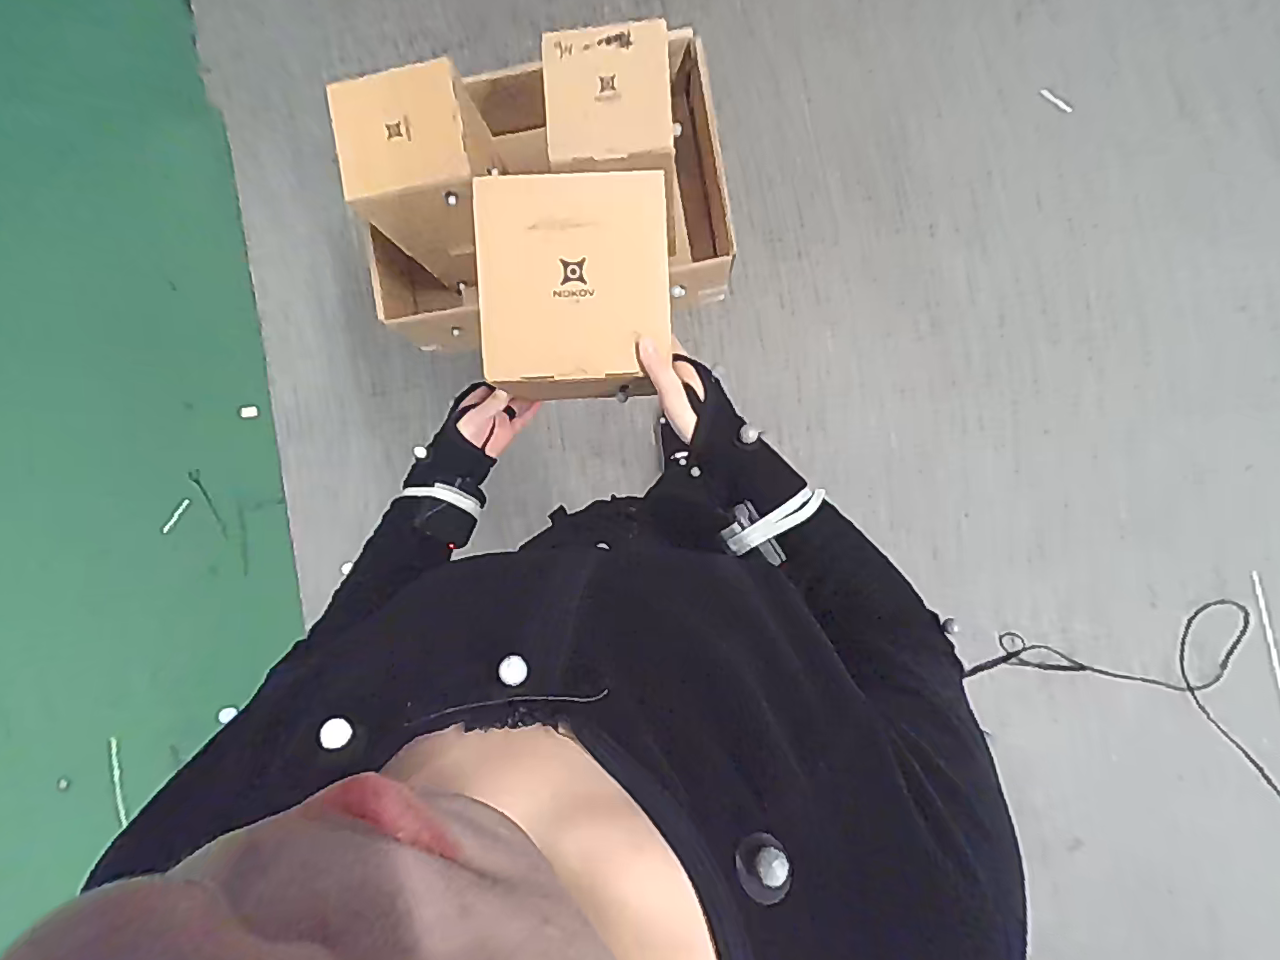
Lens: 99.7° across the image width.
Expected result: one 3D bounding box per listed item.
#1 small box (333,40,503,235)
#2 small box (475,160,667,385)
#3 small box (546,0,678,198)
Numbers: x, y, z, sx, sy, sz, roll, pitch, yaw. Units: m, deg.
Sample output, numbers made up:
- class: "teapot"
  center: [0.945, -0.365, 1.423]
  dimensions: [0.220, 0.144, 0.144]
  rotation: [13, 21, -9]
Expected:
- class: "small box"
  center: [-0.311, -0.488, 0.800]
  dimensions: [0.179, 0.176, 0.168]
  rotation: [-10, 89, 3]
- class: "small box"
  center: [-0.058, -0.190, 0.546]
  dimensions: [0.168, 0.176, 0.179]
  rotation: [-2, 93, -1]
- class: "small box"
  center: [-0.031, -0.523, 0.776]
  dimensions: [0.168, 0.176, 0.179]
  rotation: [-3, 90, 4]
